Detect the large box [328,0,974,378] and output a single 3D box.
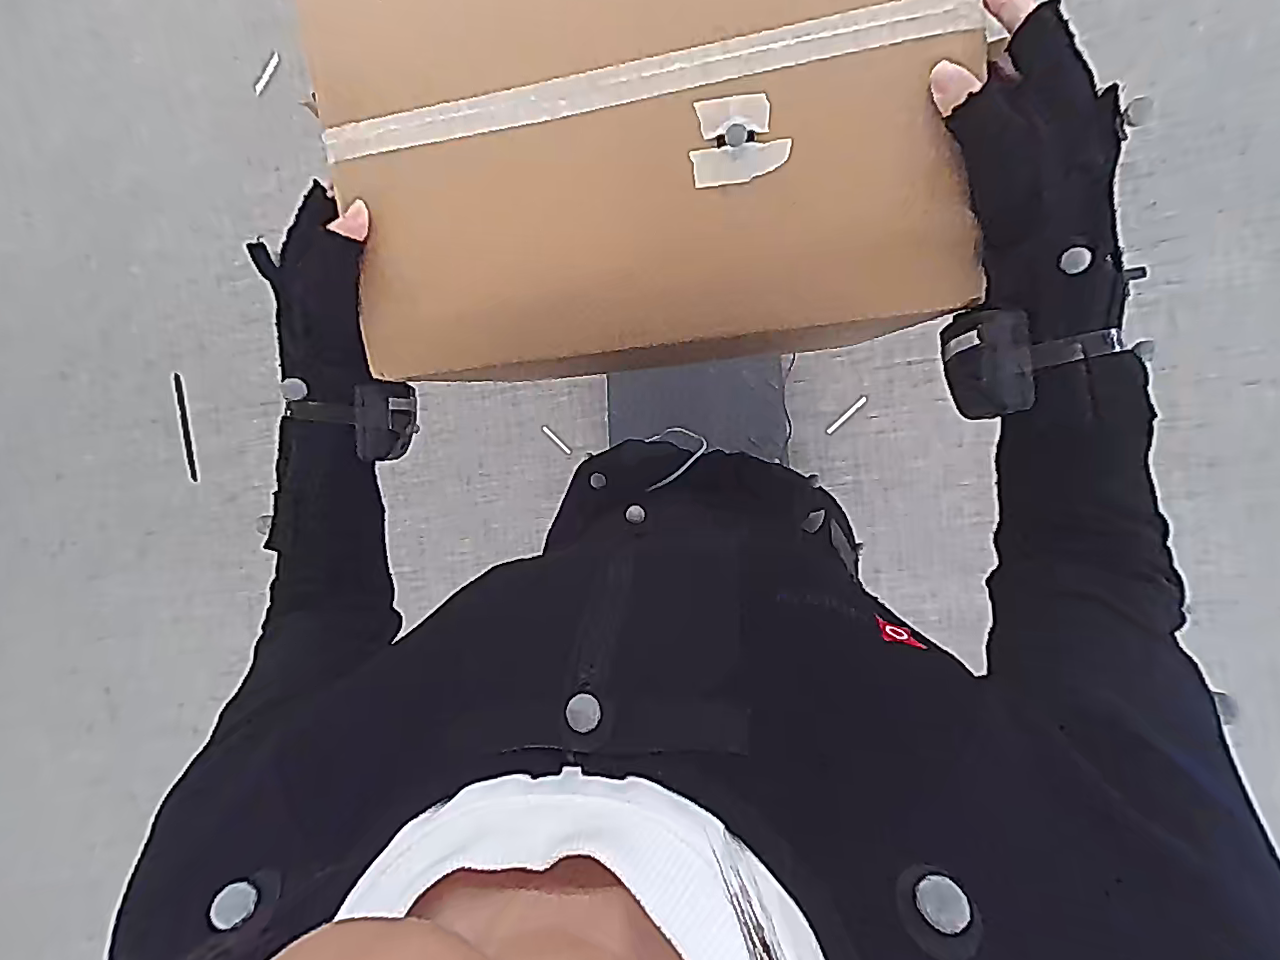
[{"bbox_3d":[0.015,-0.275,0.491,0.408,0.320,0.320,-5,100,9],"label":"large box"}]
